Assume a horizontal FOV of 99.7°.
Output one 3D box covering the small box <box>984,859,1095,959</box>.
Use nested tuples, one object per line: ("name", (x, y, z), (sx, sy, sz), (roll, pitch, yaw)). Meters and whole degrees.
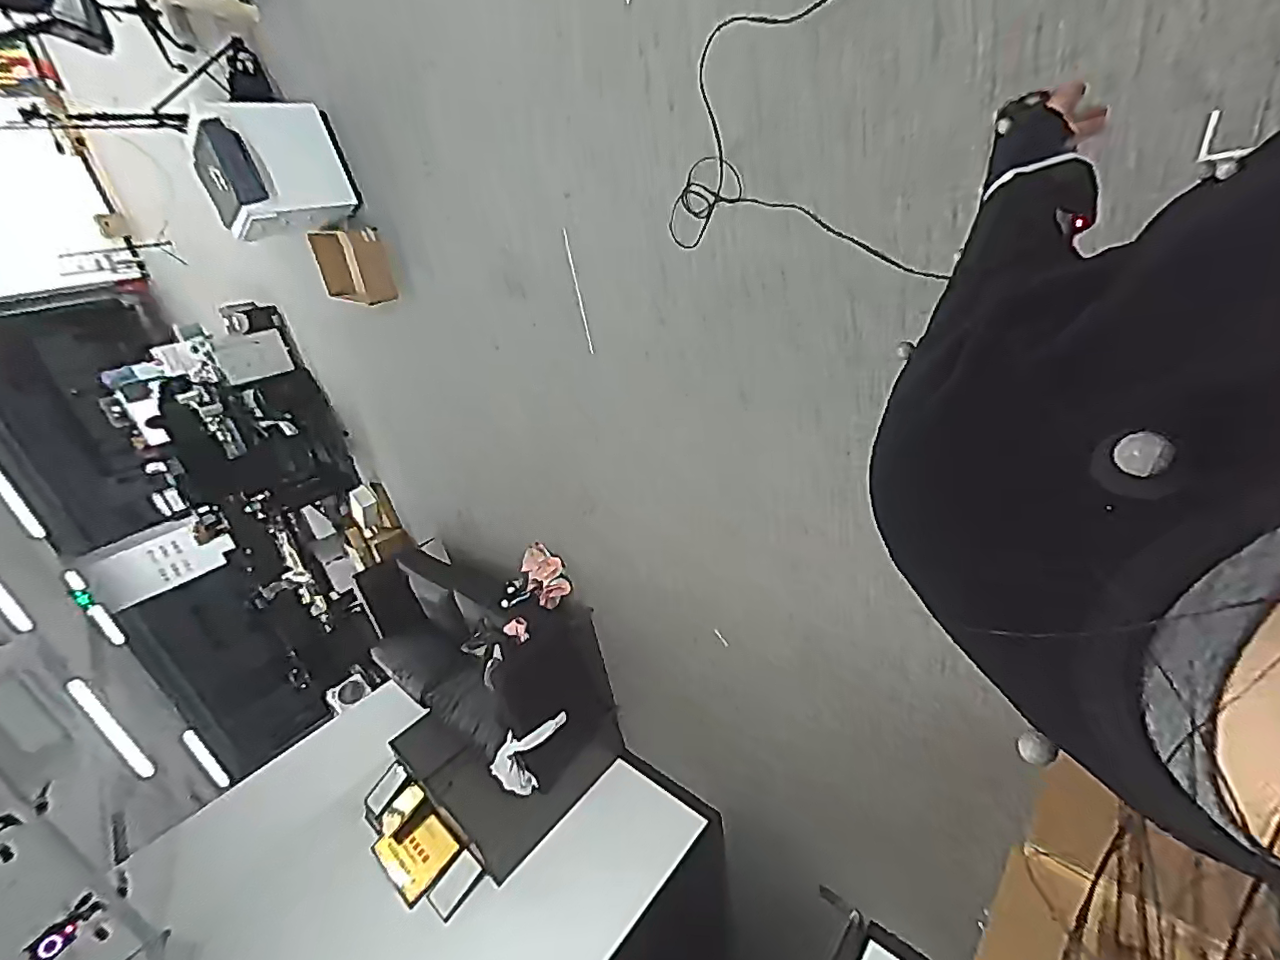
("small box", (0.910, 1.030, 1.238), (0.179, 0.176, 0.168), (17, 123, 40))

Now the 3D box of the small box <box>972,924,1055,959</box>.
("small box", (0.796, 1.095, 1.141), (0.179, 0.176, 0.168), (18, 126, 40))
